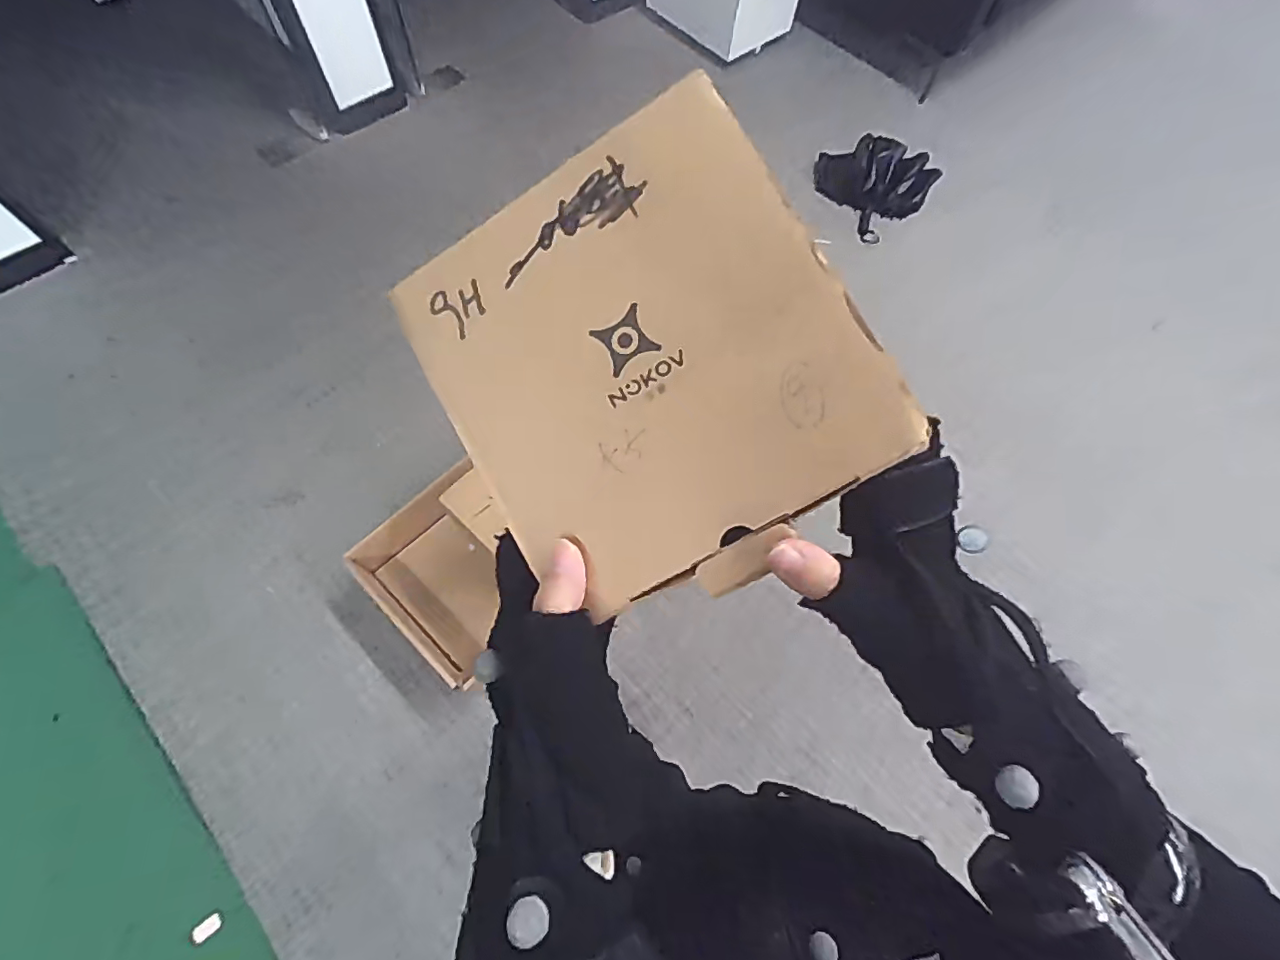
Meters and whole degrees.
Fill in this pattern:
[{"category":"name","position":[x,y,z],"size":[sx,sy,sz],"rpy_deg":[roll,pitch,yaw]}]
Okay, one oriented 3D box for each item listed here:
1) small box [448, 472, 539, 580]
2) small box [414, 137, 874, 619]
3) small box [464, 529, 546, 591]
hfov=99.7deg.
[{"category":"small box","position":[-0.265,0.080,1.136],"size":[0.168,0.176,0.179],"rpy_deg":[41,69,16]},{"category":"small box","position":[0.010,-0.047,0.333],"size":[0.168,0.176,0.179],"rpy_deg":[-33,83,10]},{"category":"small box","position":[-0.278,0.141,1.270],"size":[0.179,0.176,0.168],"rpy_deg":[40,68,16]}]
